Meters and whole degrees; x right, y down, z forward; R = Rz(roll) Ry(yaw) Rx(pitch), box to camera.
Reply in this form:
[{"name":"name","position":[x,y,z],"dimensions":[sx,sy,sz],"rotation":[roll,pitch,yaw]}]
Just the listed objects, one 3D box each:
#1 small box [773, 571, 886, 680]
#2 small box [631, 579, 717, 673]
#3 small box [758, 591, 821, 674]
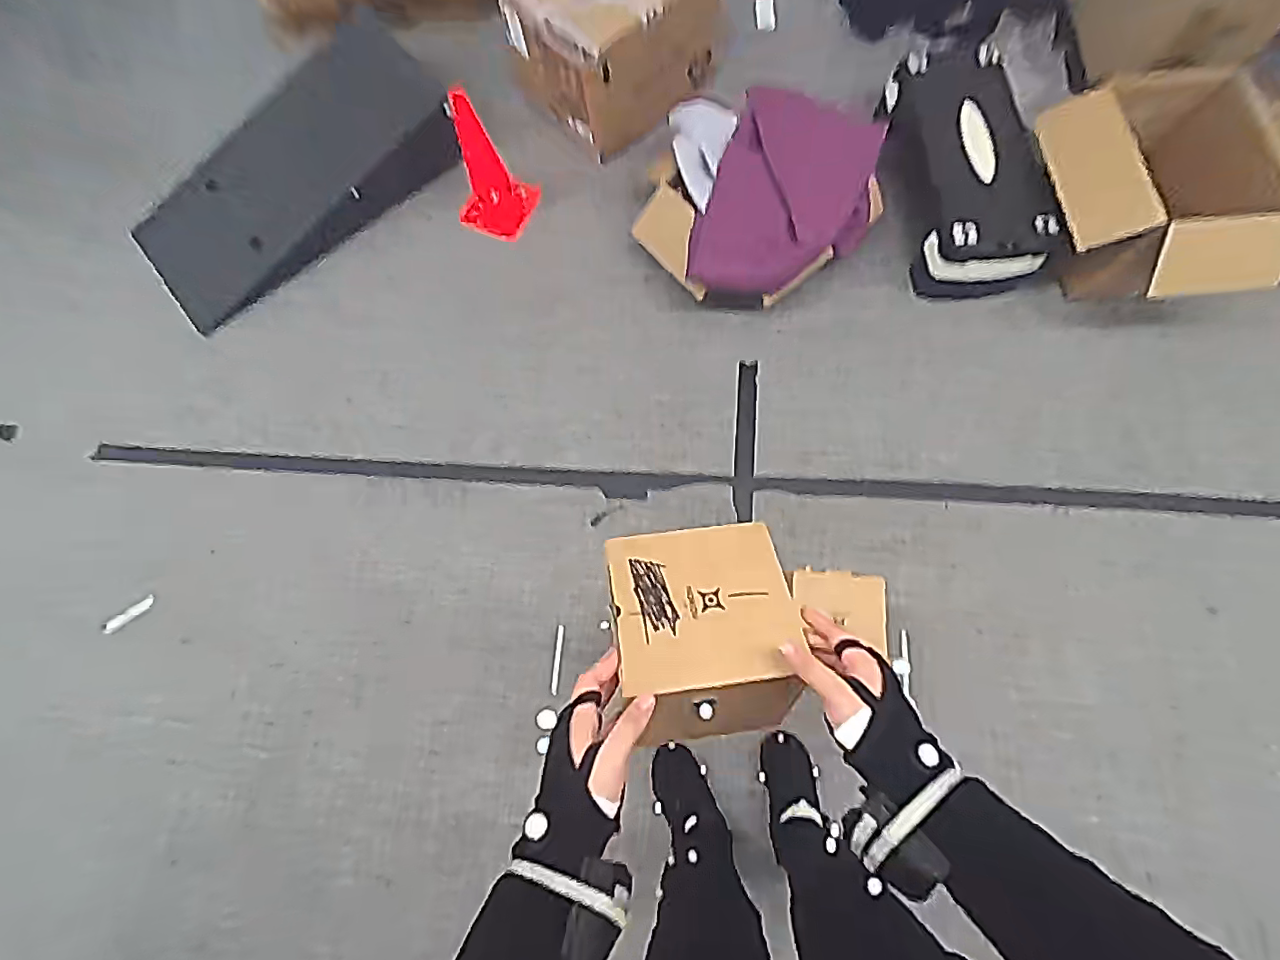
[{"name":"small box","position":[0.352,0.275,1.031],"dimensions":[0.168,0.176,0.179],"rotation":[4,75,4]},{"name":"small box","position":[0.076,0.321,1.199],"dimensions":[0.168,0.176,0.179],"rotation":[5,75,4]},{"name":"small box","position":[0.363,0.331,1.184],"dimensions":[0.179,0.176,0.168],"rotation":[3,74,3]}]
